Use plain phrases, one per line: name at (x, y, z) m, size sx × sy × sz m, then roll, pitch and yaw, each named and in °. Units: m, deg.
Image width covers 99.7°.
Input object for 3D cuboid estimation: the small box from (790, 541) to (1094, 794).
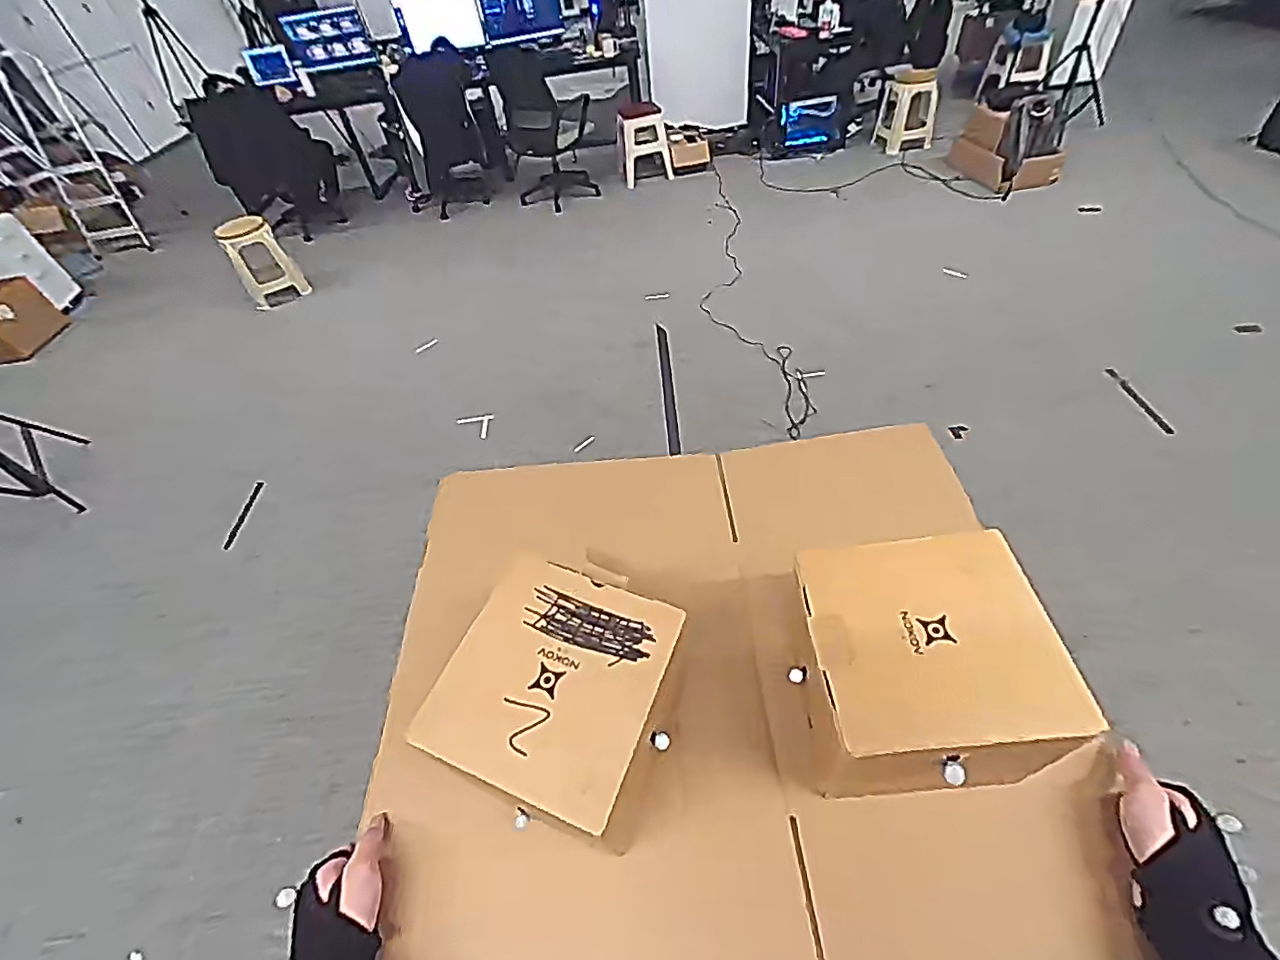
small box at (0.243, 0.177, 0.495) m, size 0.179 × 0.176 × 0.168 m, roll -9°, pitch 50°, yaw 6°
